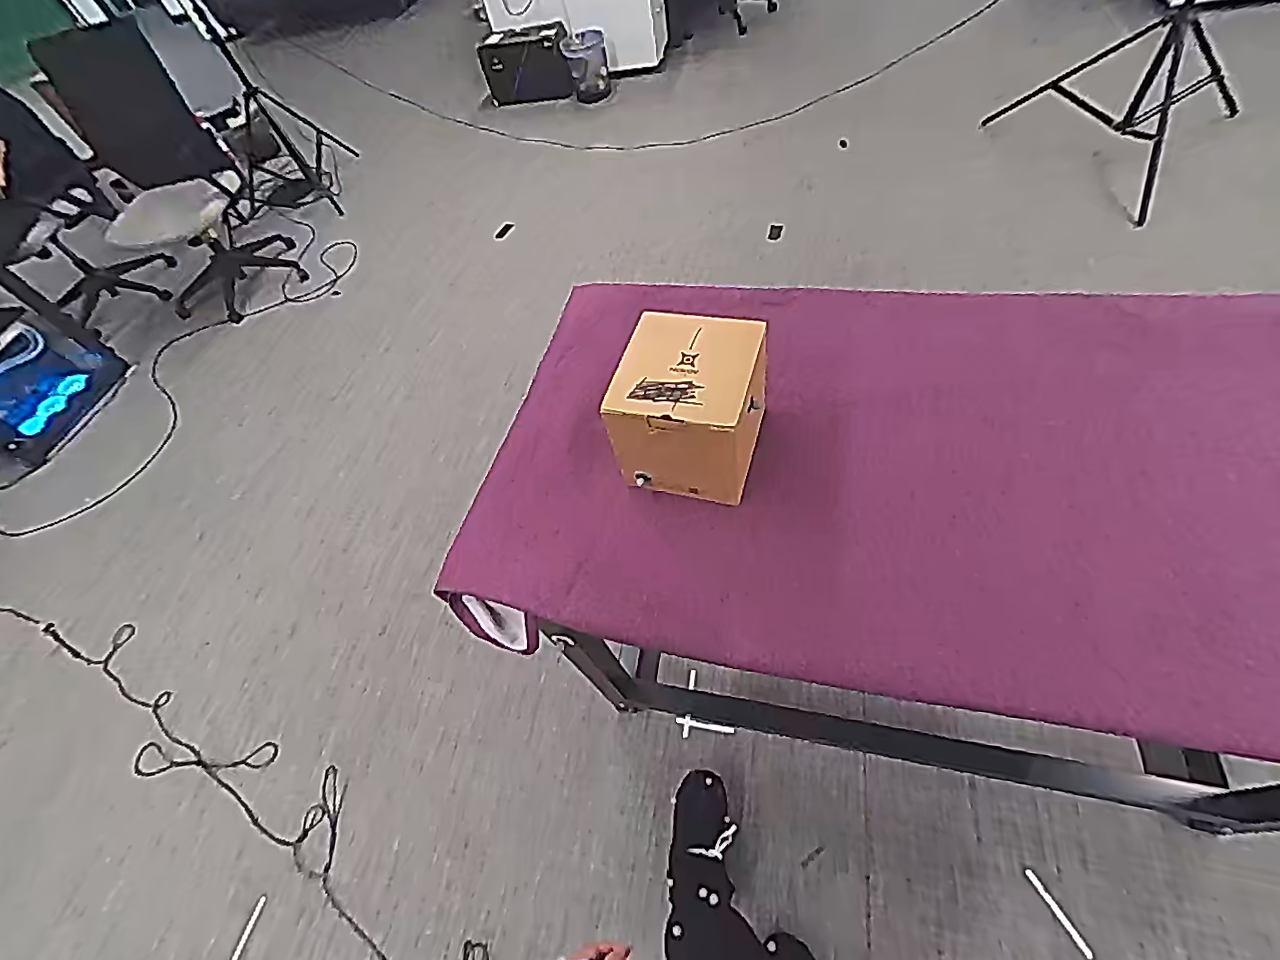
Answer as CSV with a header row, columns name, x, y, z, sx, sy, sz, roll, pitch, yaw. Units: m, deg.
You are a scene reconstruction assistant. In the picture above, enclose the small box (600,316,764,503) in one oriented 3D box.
name,x,y,z,sx,sy,sz,roll,pitch,yaw
small box,0.067,-0.091,0.721,0.168,0.176,0.179,11,59,18
